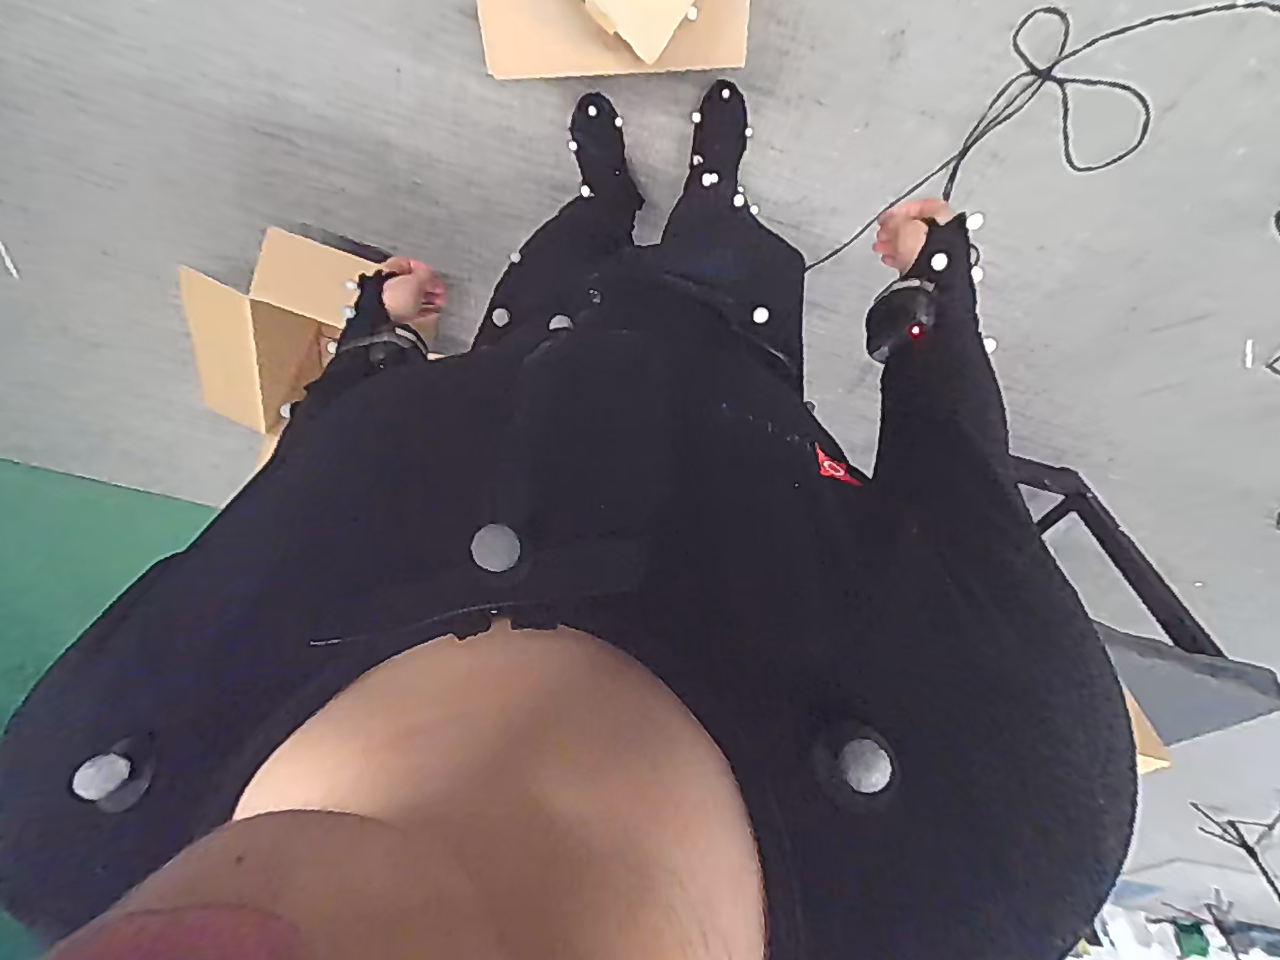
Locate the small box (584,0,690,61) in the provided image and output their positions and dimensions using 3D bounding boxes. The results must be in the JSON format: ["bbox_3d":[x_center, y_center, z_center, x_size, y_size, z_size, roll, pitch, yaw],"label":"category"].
[{"bbox_3d":[0.007,-0.683,0.680,0.168,0.176,0.179,32,129,-22],"label":"small box"}]
